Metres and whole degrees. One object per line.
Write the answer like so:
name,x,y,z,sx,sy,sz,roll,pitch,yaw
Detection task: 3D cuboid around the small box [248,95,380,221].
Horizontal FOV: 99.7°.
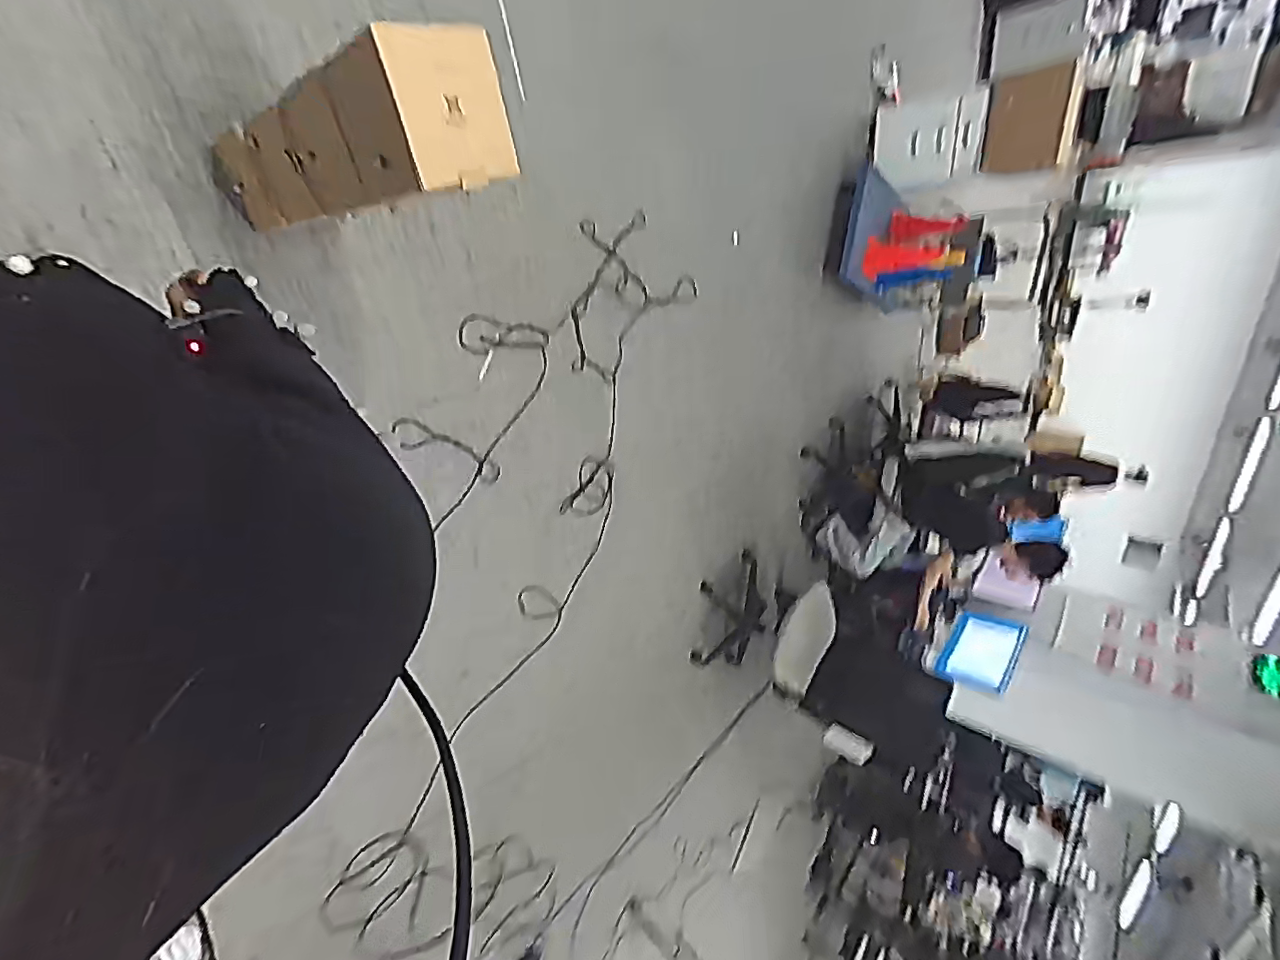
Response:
small box,-0.557,-0.571,0.960,0.179,0.176,0.168,-38,128,-37

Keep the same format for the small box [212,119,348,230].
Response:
small box,-0.686,-0.599,1.058,0.179,0.176,0.168,-38,127,-35

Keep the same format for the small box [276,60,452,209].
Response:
small box,-0.433,-0.540,0.858,0.168,0.176,0.179,-37,128,-37

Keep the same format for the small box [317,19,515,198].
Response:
small box,-0.309,-0.506,0.756,0.168,0.176,0.179,-37,127,-37
